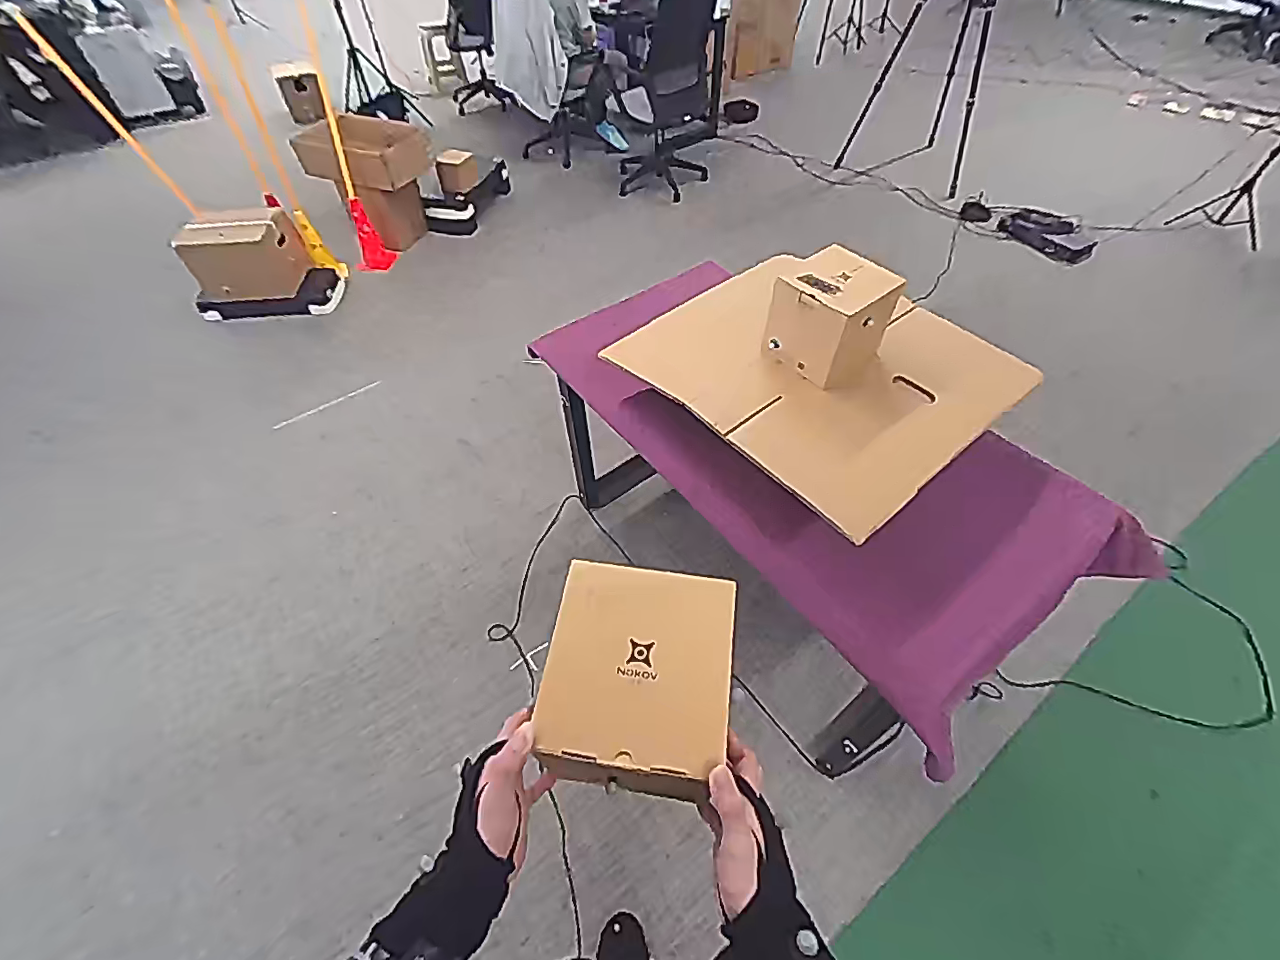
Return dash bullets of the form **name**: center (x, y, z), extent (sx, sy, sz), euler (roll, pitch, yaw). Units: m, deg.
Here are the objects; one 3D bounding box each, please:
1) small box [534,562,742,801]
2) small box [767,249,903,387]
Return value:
- **small box**: center (0.004, 0.207, 0.546), extent (0.168, 0.176, 0.179), euler (7, 56, 5)
- **small box**: center (0.365, -0.310, 1.048), extent (0.179, 0.176, 0.168), euler (-34, 60, -24)
